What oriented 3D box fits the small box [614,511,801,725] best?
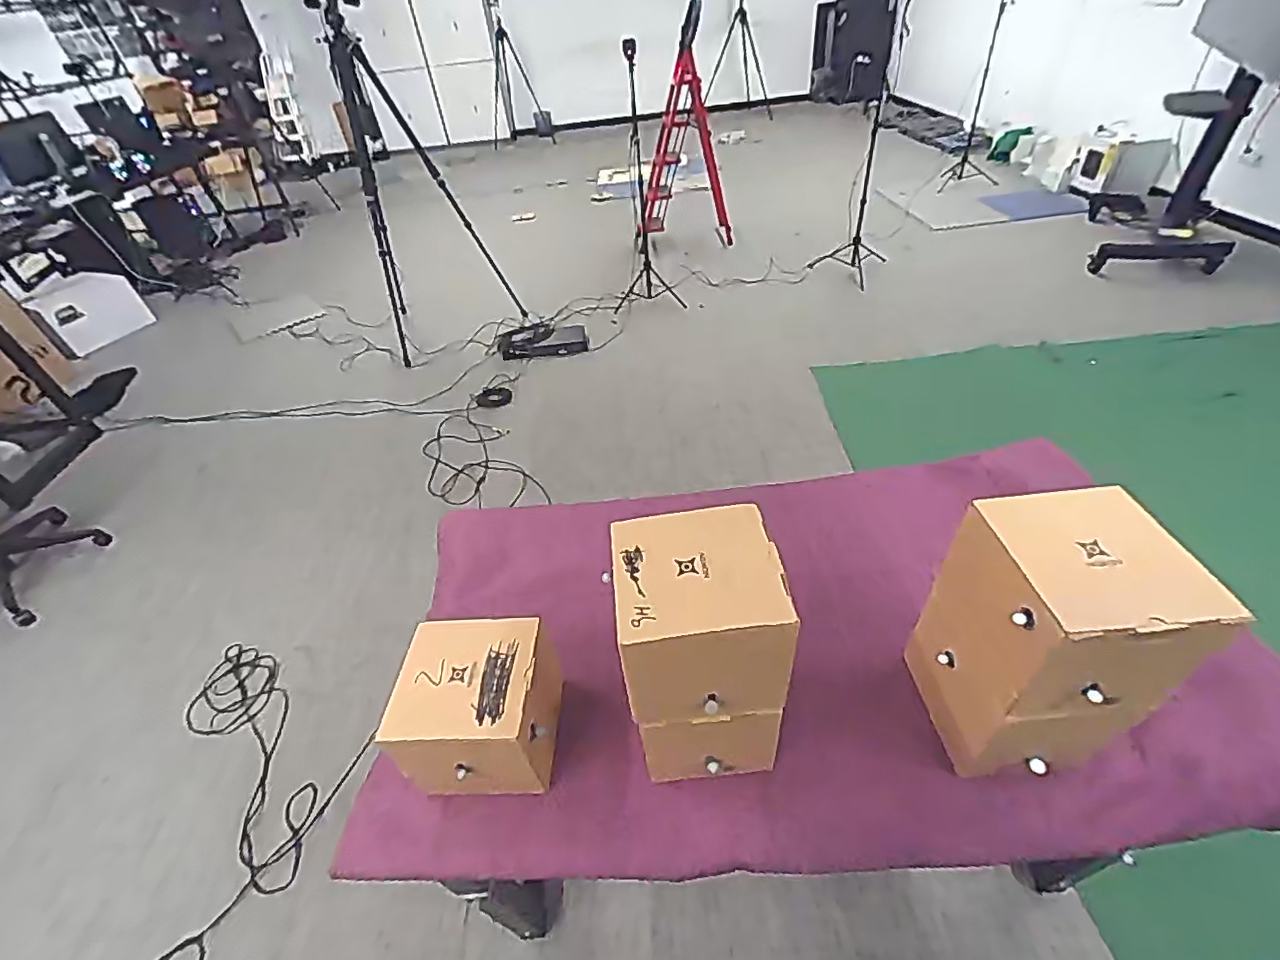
[{"bbox_3d":[0.066,0.158,0.620,0.179,0.176,0.168,-6,40,-1],"label":"small box"}]

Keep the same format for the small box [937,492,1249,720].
[{"bbox_3d":[0.462,0.137,0.595,0.168,0.176,0.179,-6,42,1],"label":"small box"}]

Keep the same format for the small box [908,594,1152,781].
[{"bbox_3d":[0.476,0.261,0.700,0.168,0.176,0.179,-6,42,2],"label":"small box"}]

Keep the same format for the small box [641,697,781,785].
[{"bbox_3d":[0.082,0.280,0.729,0.168,0.176,0.179,-7,41,0],"label":"small box"}]
